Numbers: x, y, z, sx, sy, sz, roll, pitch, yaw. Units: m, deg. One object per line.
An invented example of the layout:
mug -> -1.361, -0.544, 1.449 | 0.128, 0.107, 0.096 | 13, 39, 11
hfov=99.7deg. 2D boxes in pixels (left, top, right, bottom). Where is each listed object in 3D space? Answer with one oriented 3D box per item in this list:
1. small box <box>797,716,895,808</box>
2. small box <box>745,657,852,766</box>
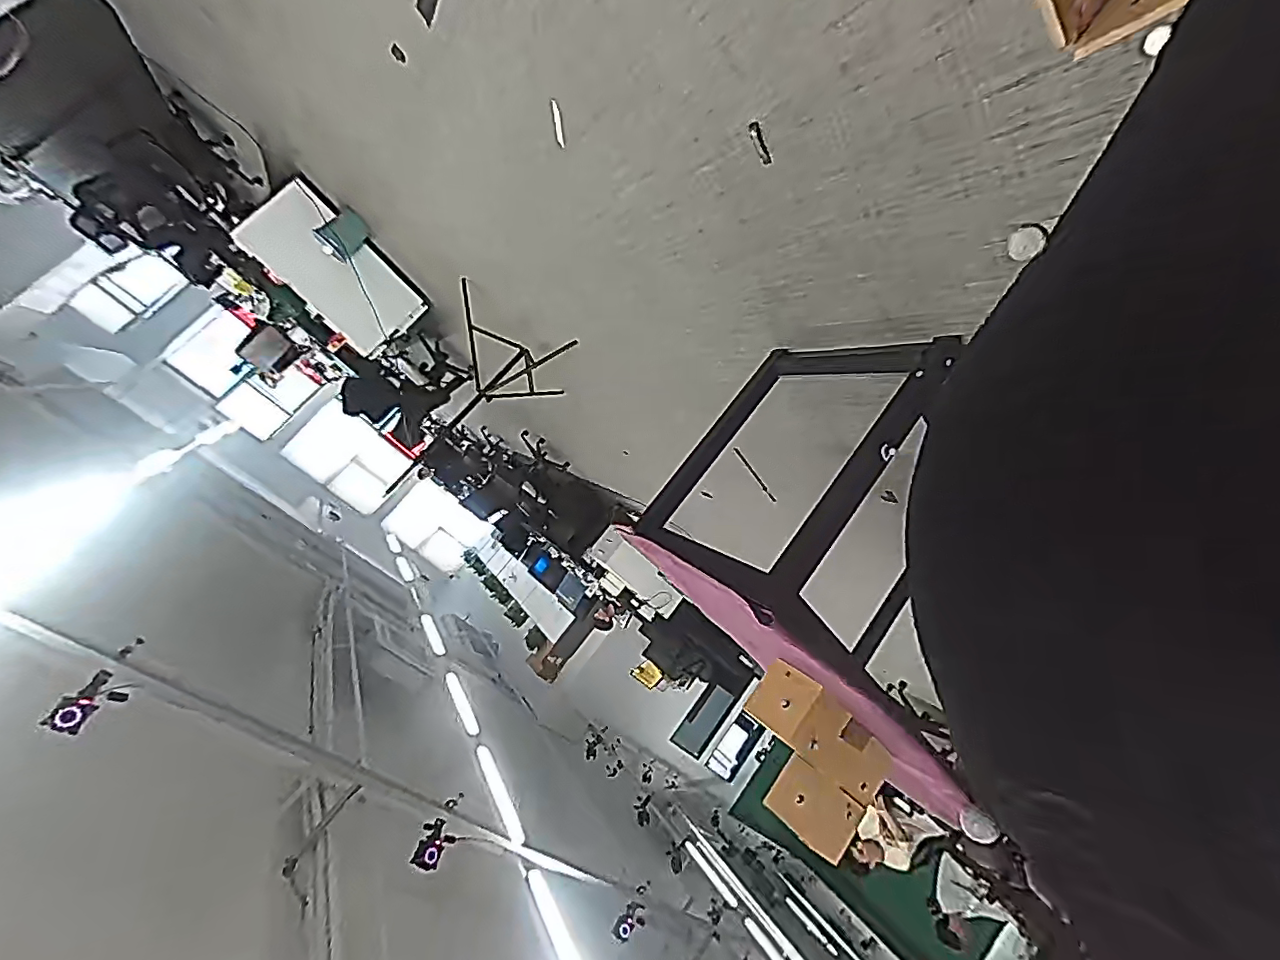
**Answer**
small box -> 0.592, 0.781, 1.542 | 0.179, 0.176, 0.168 | 47, 165, -28
small box -> 0.416, 0.597, 1.414 | 0.179, 0.176, 0.168 | 46, 166, -29
